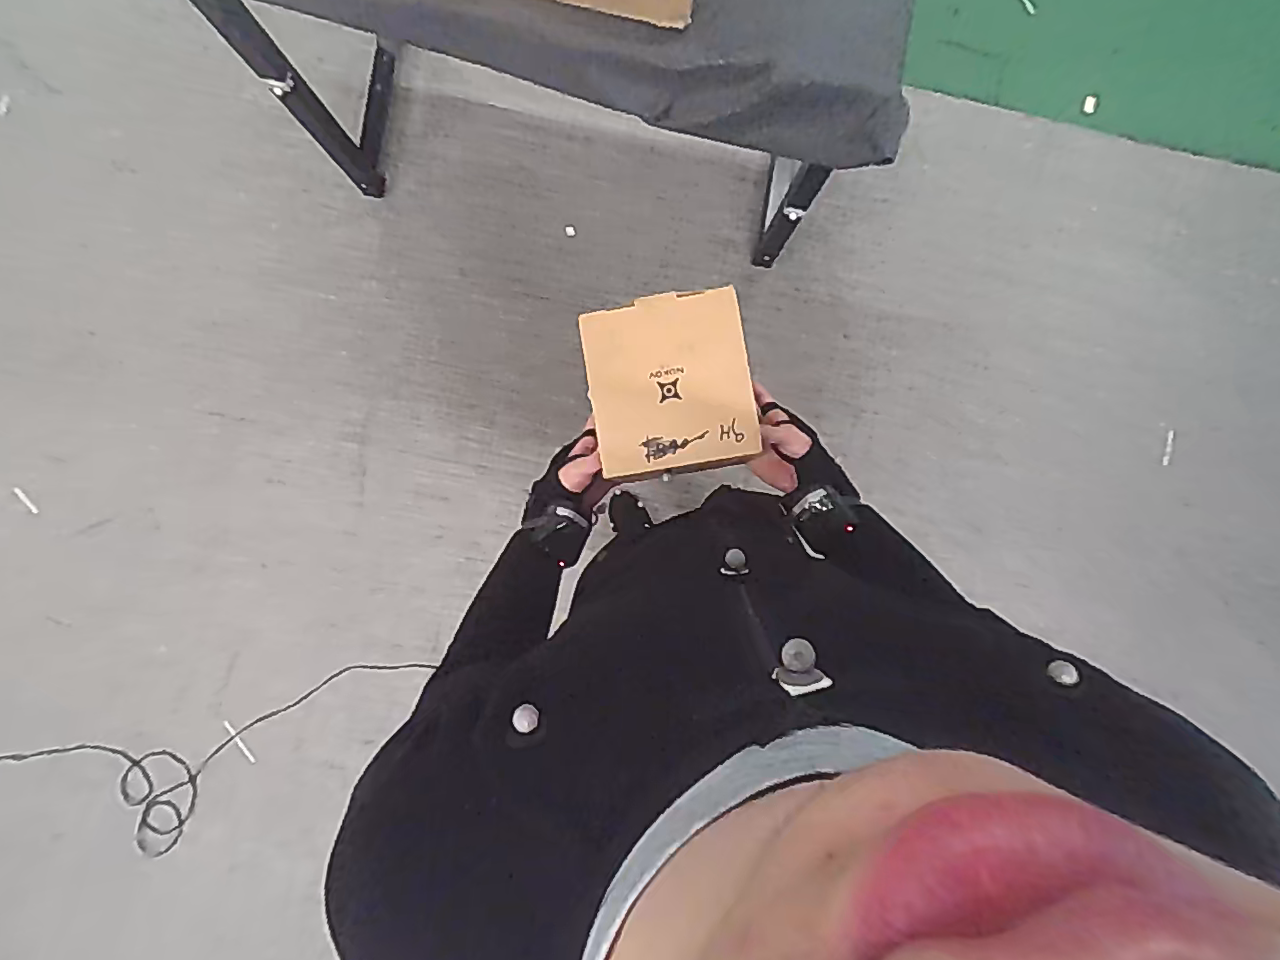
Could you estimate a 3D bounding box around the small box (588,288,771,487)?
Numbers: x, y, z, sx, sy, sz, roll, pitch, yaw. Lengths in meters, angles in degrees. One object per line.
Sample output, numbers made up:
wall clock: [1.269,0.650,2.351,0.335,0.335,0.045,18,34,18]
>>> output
small box: [0.046,-0.093,0.629,0.168,0.176,0.179,-11,86,6]
